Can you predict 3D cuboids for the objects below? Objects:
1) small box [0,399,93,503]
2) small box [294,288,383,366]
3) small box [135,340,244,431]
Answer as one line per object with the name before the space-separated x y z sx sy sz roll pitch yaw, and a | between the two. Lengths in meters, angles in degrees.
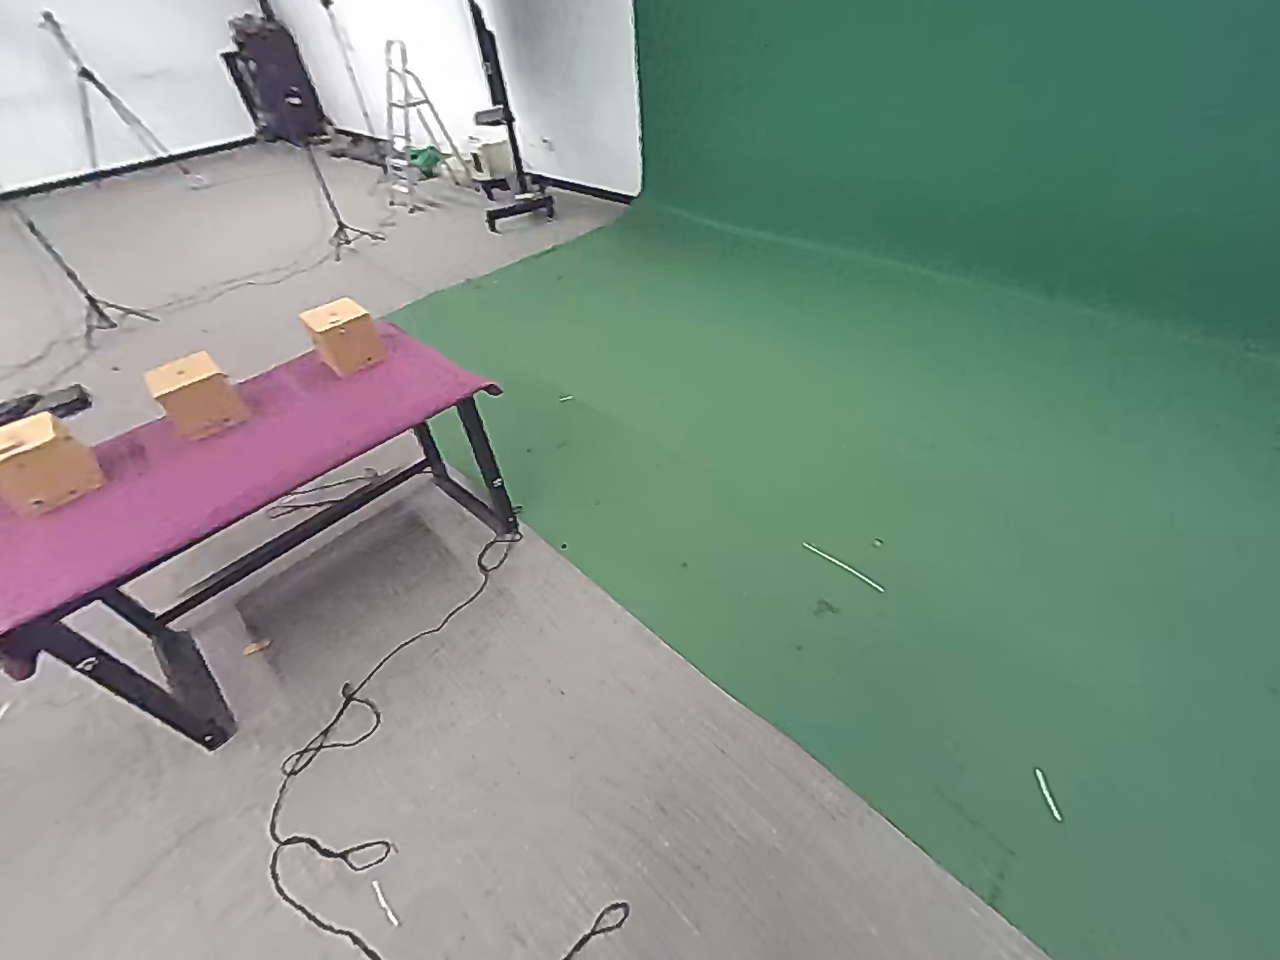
small box | -1.545 -0.068 1.365 0.168 0.176 0.179 -36 54 -29
small box | -0.972 -0.495 1.753 0.168 0.176 0.179 -37 53 -27
small box | -1.288 -0.270 1.554 0.168 0.176 0.179 -35 53 -26
